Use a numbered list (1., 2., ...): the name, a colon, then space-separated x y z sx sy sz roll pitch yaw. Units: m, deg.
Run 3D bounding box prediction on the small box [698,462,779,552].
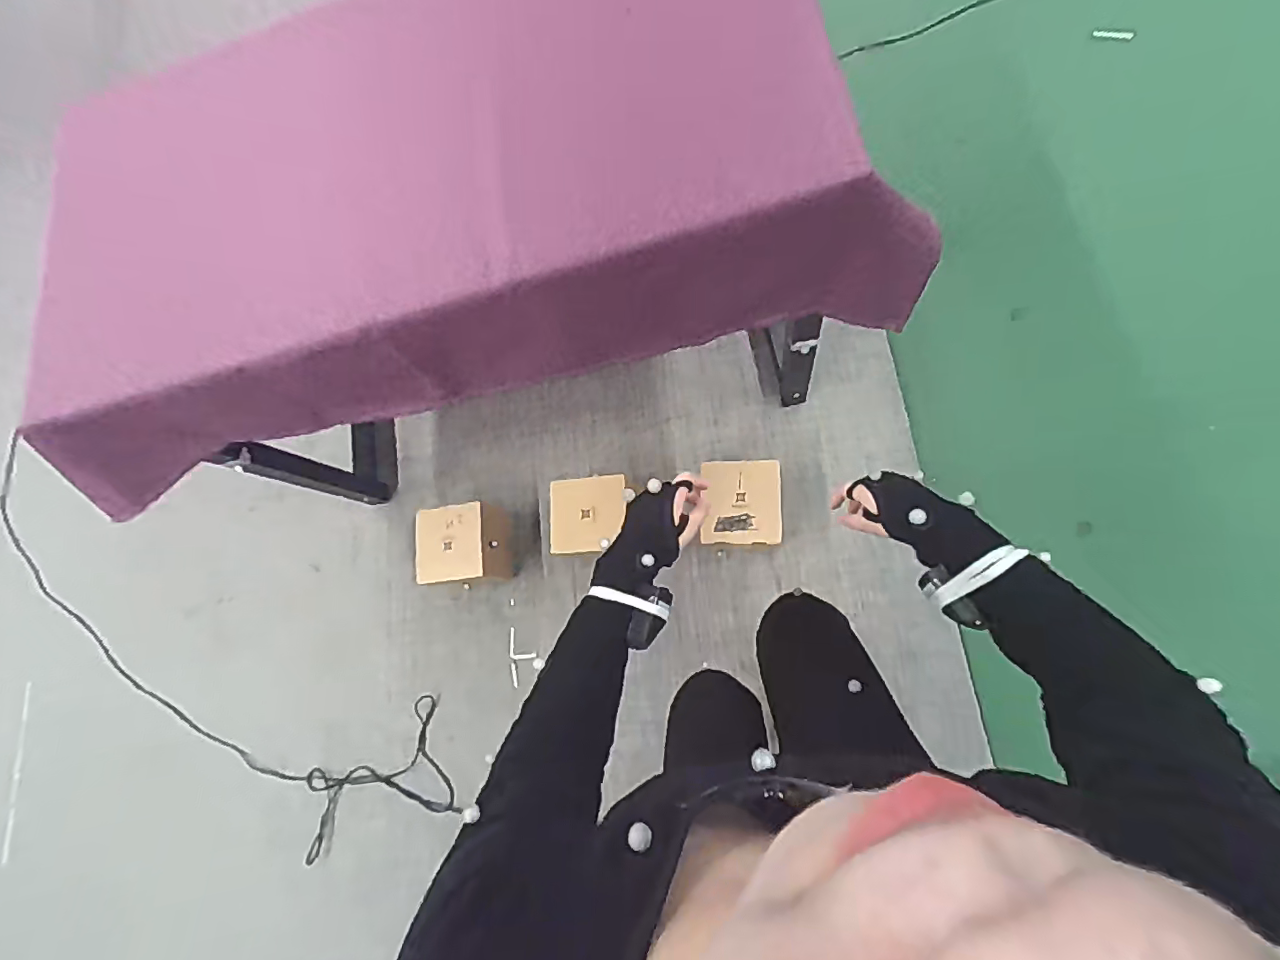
1. small box: 0.222 0.065 1.190 0.168 0.176 0.179 -1 76 12
